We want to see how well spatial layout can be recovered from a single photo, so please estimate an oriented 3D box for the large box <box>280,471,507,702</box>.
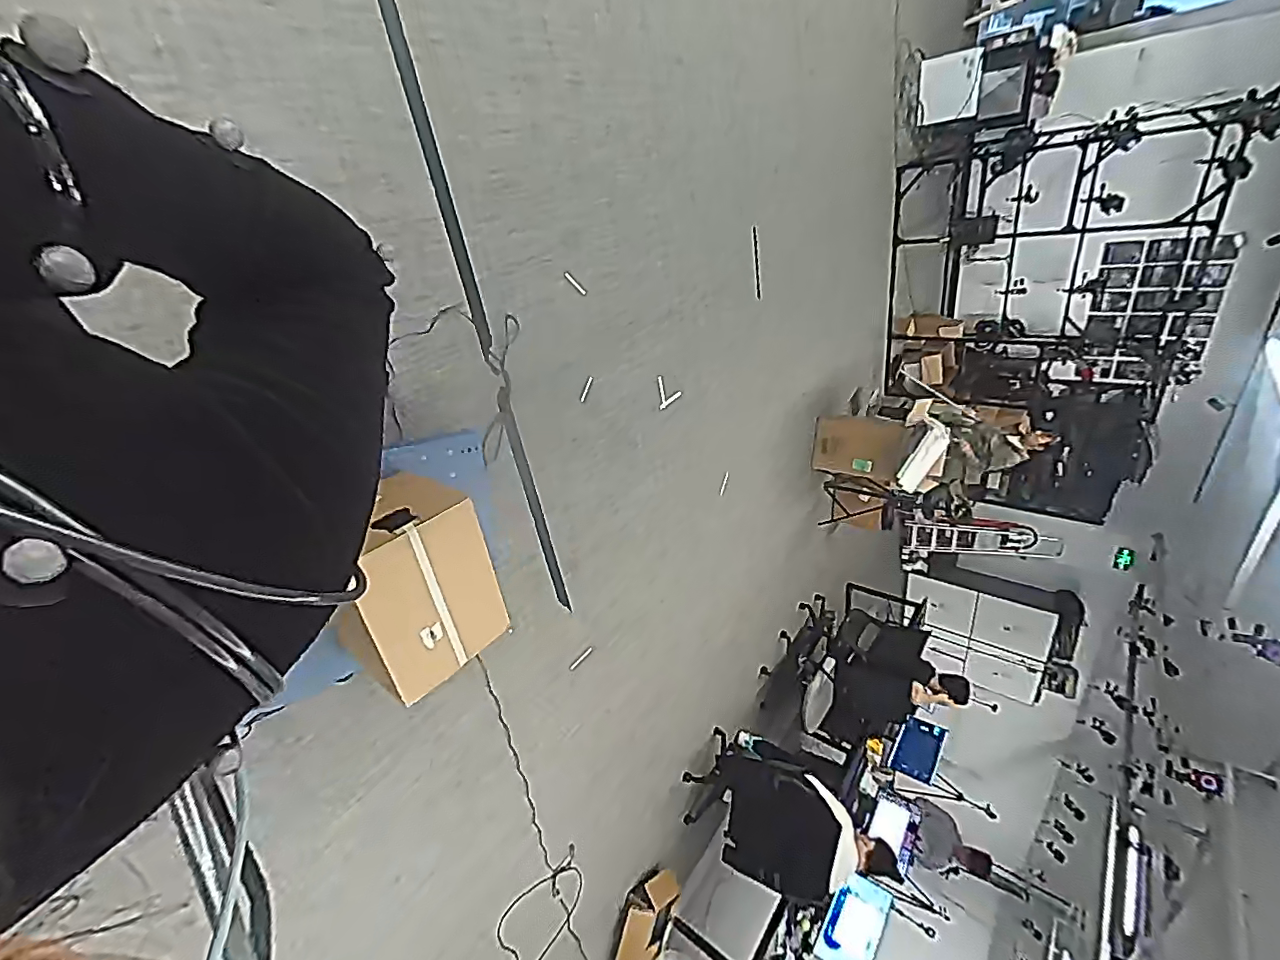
[{"bbox_3d":[-0.585,0.240,1.322,0.320,0.320,0.408,-34,128,-41],"label":"large box"}]
